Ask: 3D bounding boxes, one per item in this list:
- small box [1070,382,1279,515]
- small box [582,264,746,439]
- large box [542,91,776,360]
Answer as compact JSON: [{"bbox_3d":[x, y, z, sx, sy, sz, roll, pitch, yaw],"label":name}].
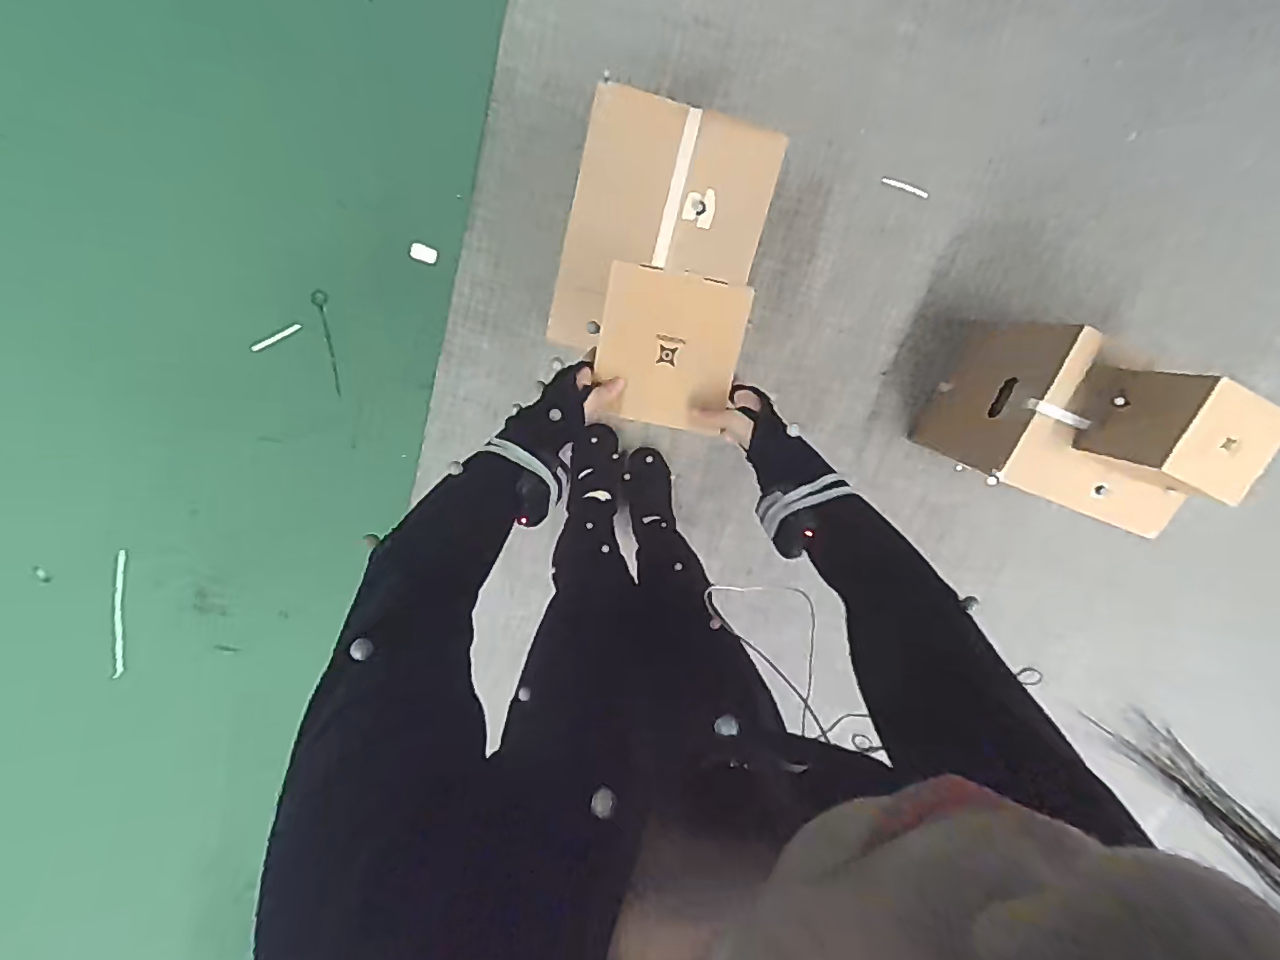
[{"bbox_3d":[0.931,-0.064,0.952,0.179,0.176,0.168,23,101,-10],"label":"small box"},{"bbox_3d":[0.024,-0.167,0.708,0.168,0.176,0.179,10,105,-5],"label":"small box"},{"bbox_3d":[0.018,-0.419,1.038,0.320,0.320,0.408,14,105,-7],"label":"large box"}]
